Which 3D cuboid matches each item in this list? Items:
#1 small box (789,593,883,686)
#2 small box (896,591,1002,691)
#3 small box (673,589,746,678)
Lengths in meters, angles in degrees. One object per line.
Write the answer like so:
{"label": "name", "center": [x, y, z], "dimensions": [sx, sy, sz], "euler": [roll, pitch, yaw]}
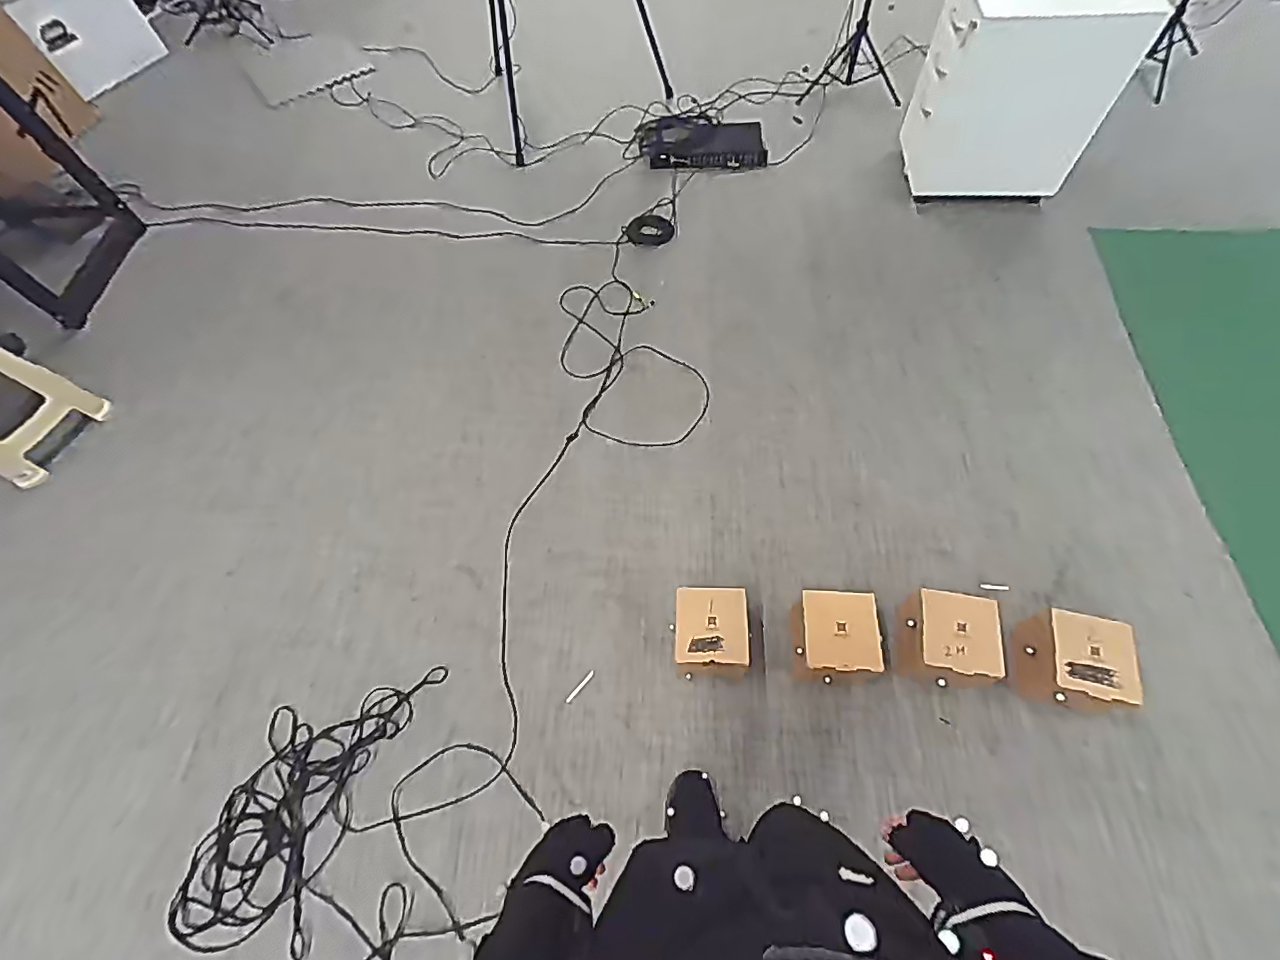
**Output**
{"label": "small box", "center": [0.455, 0.381, 1.285], "dimensions": [0.168, 0.176, 0.179], "euler": [2, 62, 5]}
{"label": "small box", "center": [0.712, 0.381, 1.265], "dimensions": [0.168, 0.176, 0.179], "euler": [8, 63, 9]}
{"label": "small box", "center": [0.166, 0.375, 1.306], "dimensions": [0.168, 0.176, 0.179], "euler": [1, 61, 4]}
